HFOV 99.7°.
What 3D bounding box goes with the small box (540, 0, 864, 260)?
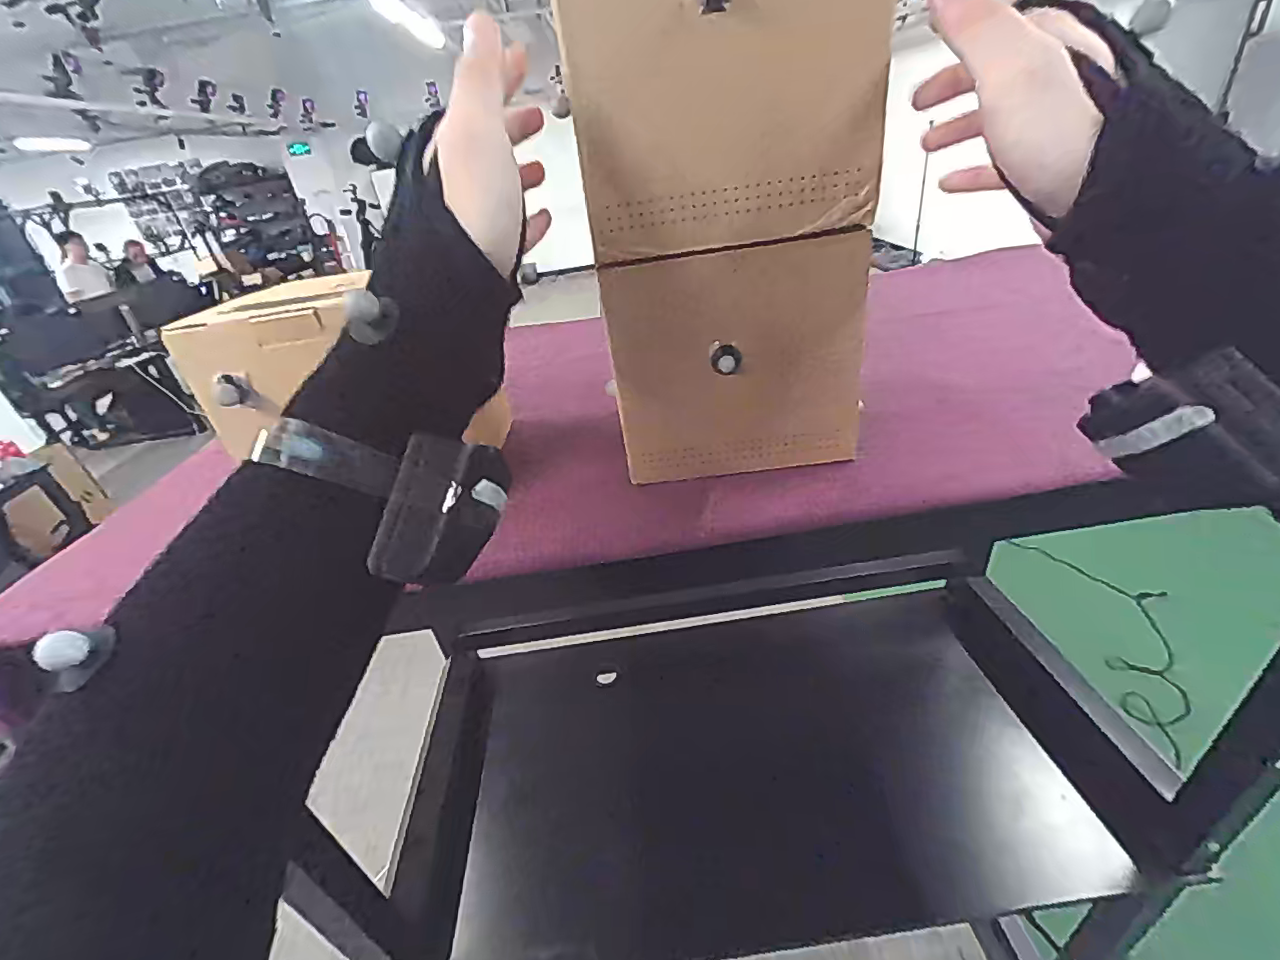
[{"bbox_3d":[0.042,-0.257,0.365,0.179,0.176,0.168,-6,32,6],"label":"small box"}]
